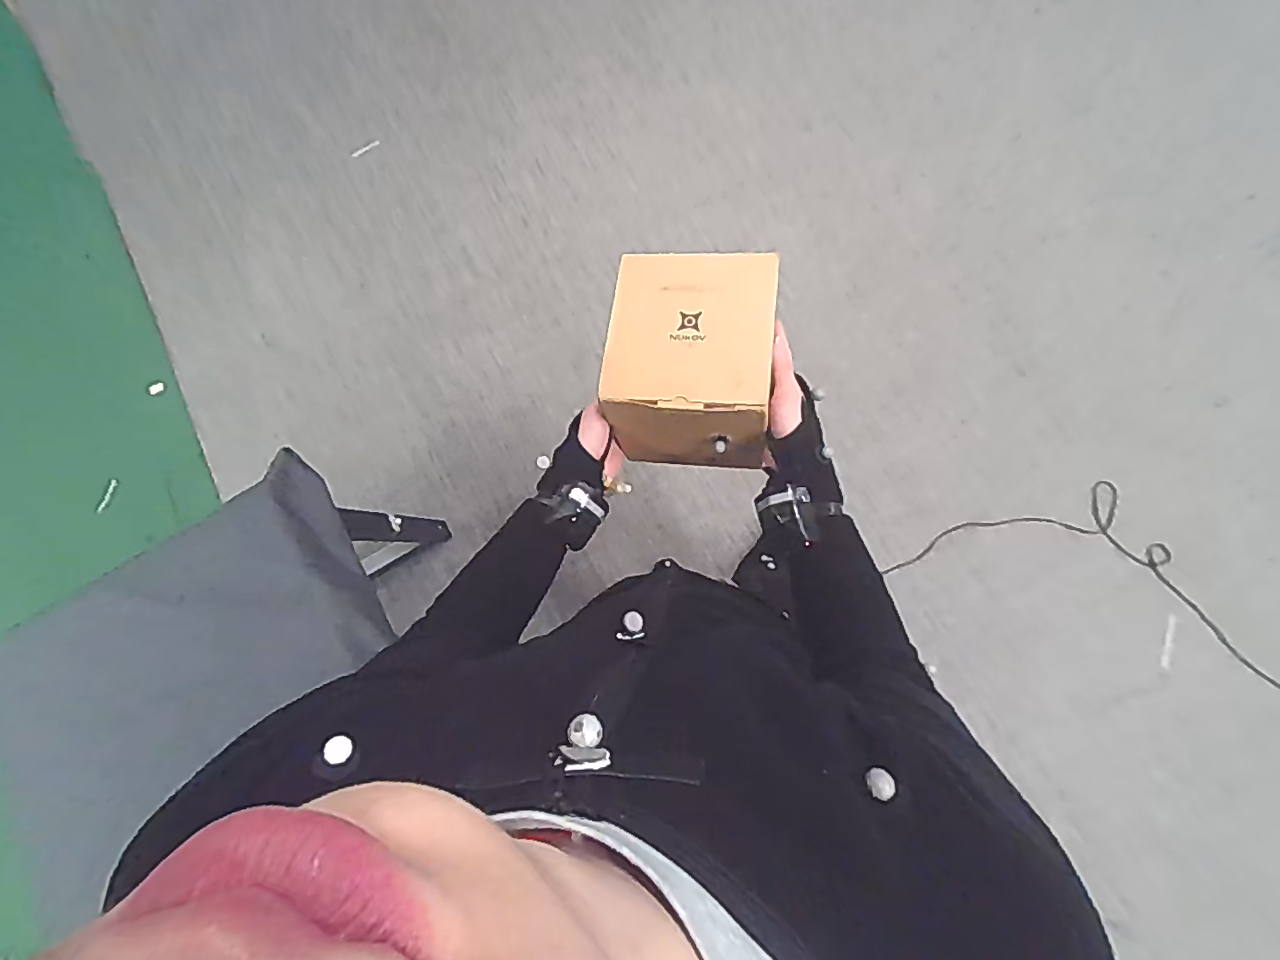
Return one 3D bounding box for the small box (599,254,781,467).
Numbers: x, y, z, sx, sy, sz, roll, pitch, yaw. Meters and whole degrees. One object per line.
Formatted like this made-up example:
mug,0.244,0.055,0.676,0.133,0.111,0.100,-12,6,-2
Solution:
small box,0.063,-0.126,0.607,0.168,0.176,0.179,5,70,10
